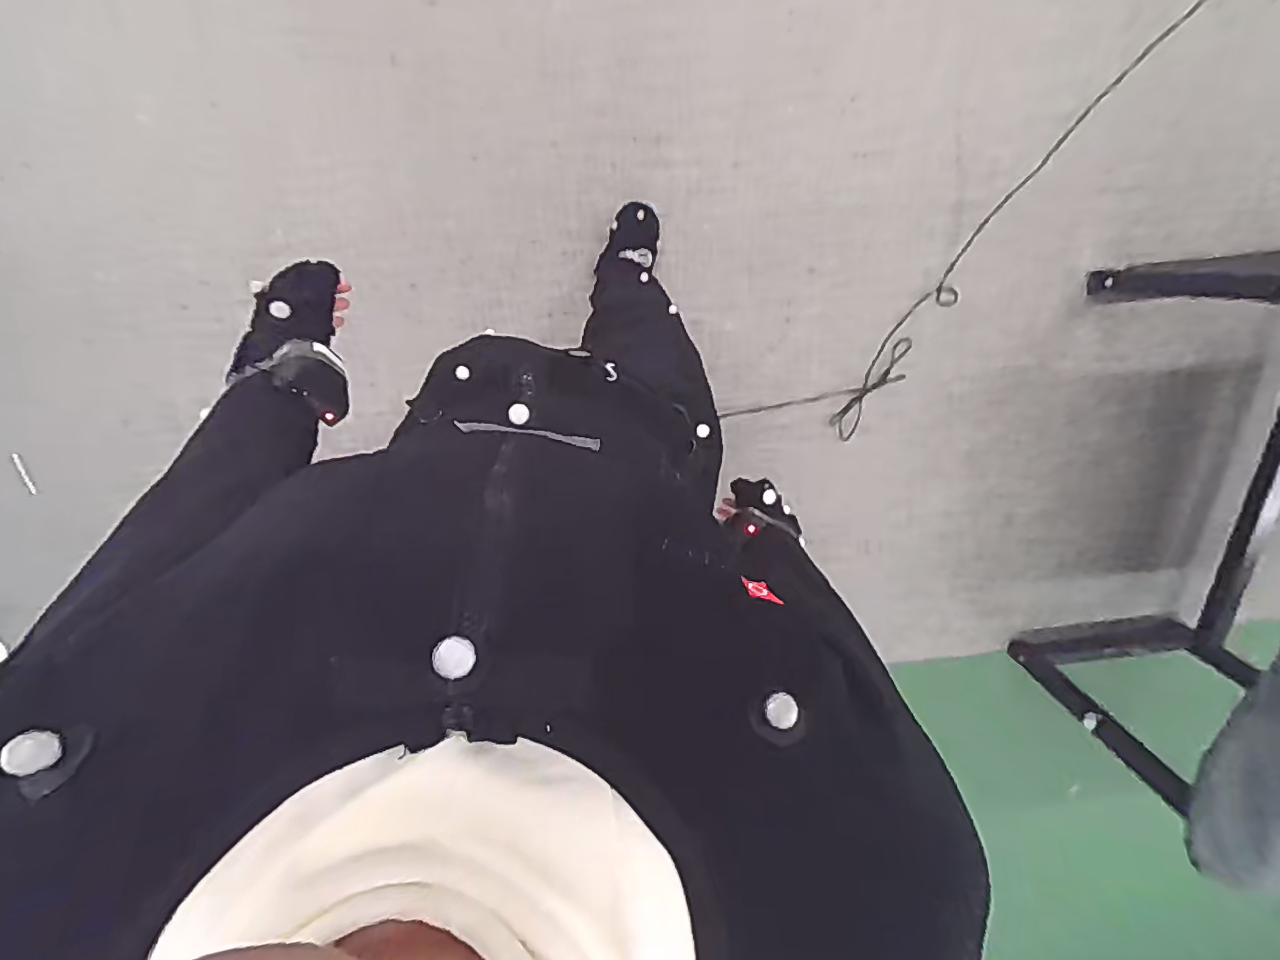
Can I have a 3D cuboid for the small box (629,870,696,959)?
[{"bbox_3d":[0.060,1.242,1.532,0.168,0.176,0.179,-6,113,-3],"label":"small box"}]
